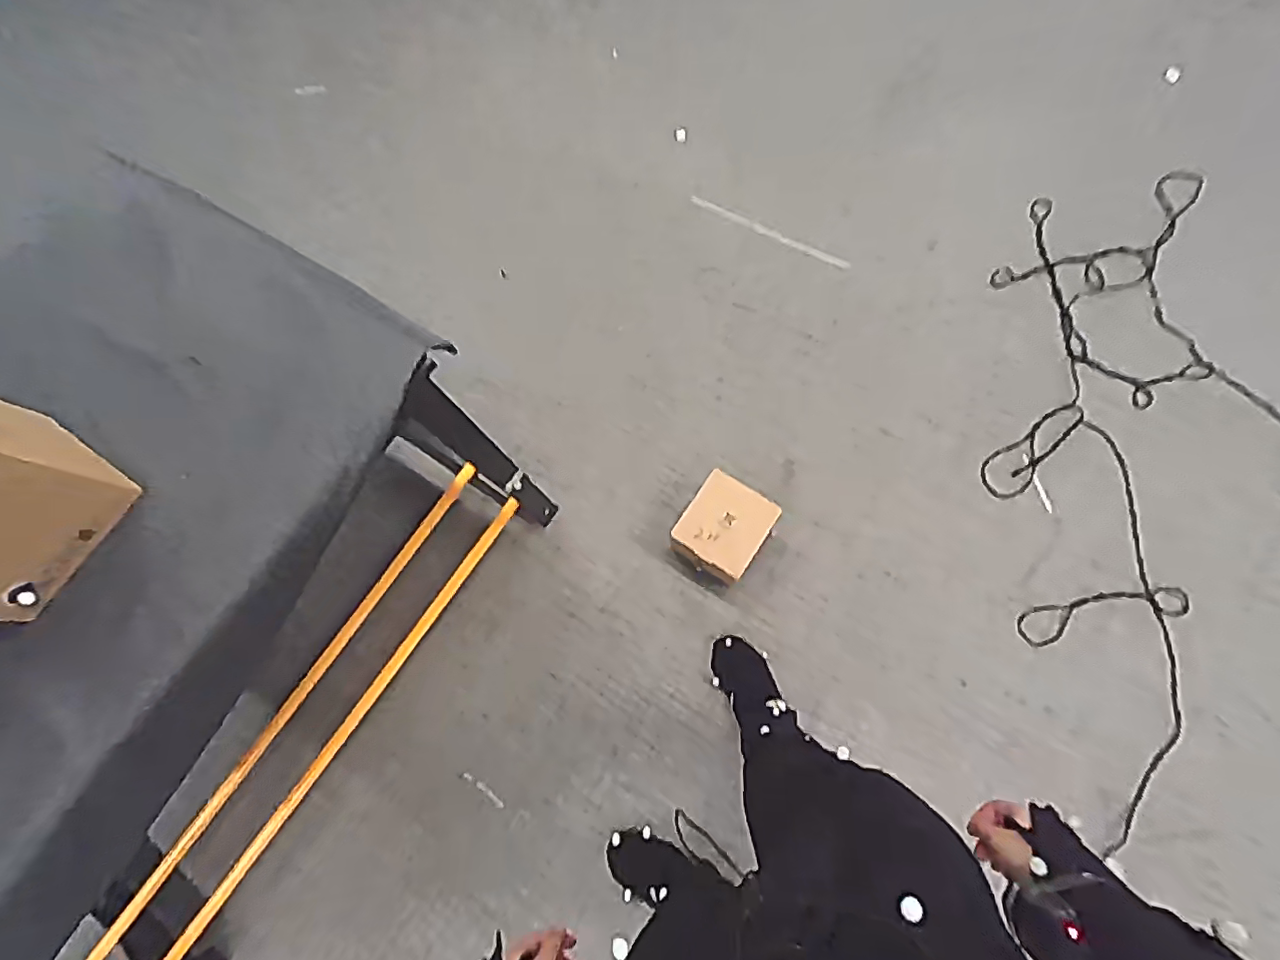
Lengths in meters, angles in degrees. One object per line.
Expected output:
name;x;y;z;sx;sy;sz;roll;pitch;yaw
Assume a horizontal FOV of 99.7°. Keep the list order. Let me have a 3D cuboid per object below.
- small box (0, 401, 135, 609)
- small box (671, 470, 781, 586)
small box;-0.655;0.012;0.511;0.179;0.176;0.168;30;78;13
small box;0.180;0.110;1.176;0.168;0.176;0.179;33;78;13
